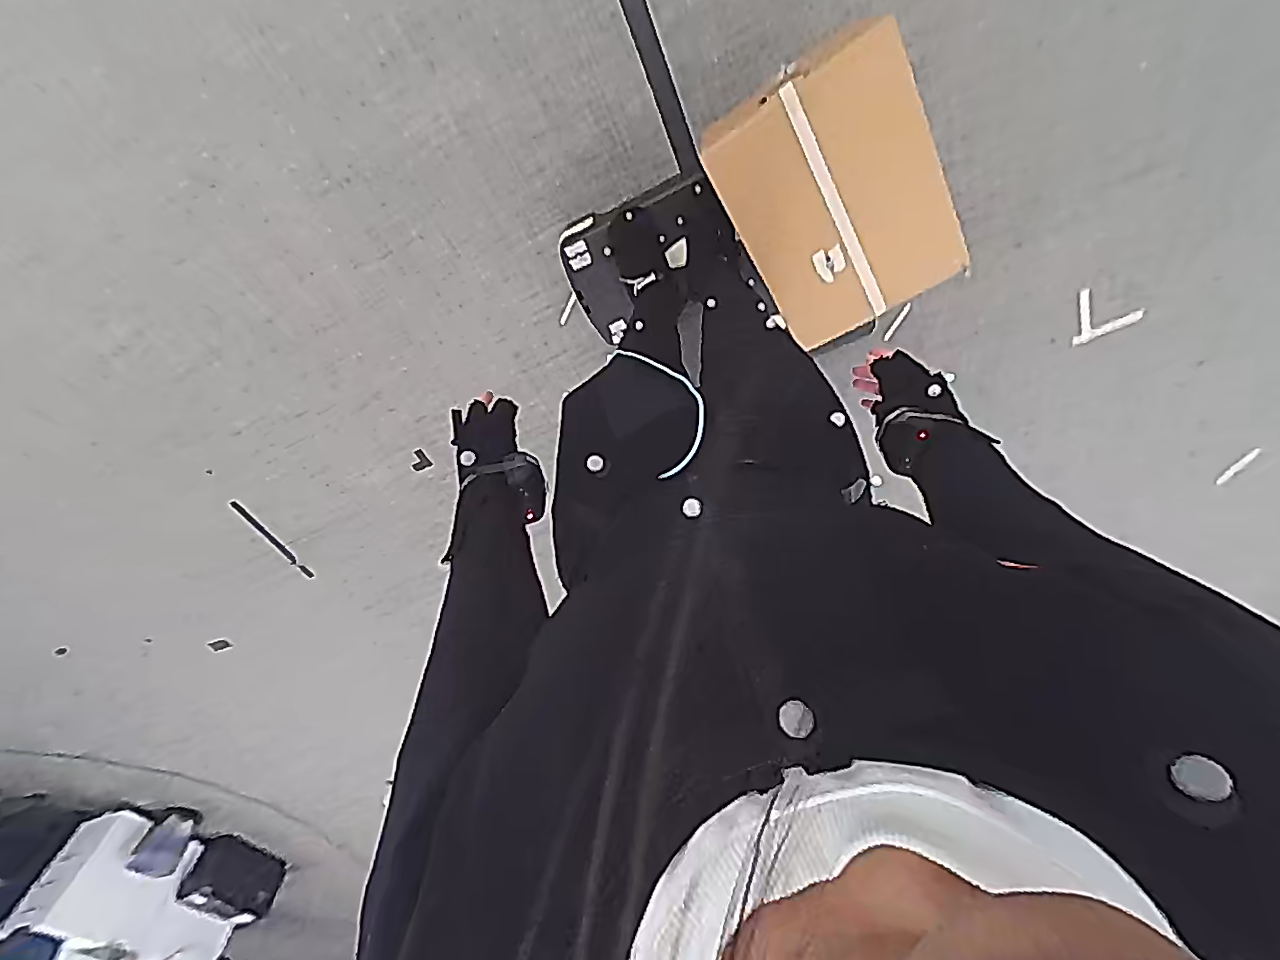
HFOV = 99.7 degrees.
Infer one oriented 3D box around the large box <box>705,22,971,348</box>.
[{"bbox_3d":[0.353,-0.542,1.024,0.320,0.320,0.408,-25,122,26],"label":"large box"}]
